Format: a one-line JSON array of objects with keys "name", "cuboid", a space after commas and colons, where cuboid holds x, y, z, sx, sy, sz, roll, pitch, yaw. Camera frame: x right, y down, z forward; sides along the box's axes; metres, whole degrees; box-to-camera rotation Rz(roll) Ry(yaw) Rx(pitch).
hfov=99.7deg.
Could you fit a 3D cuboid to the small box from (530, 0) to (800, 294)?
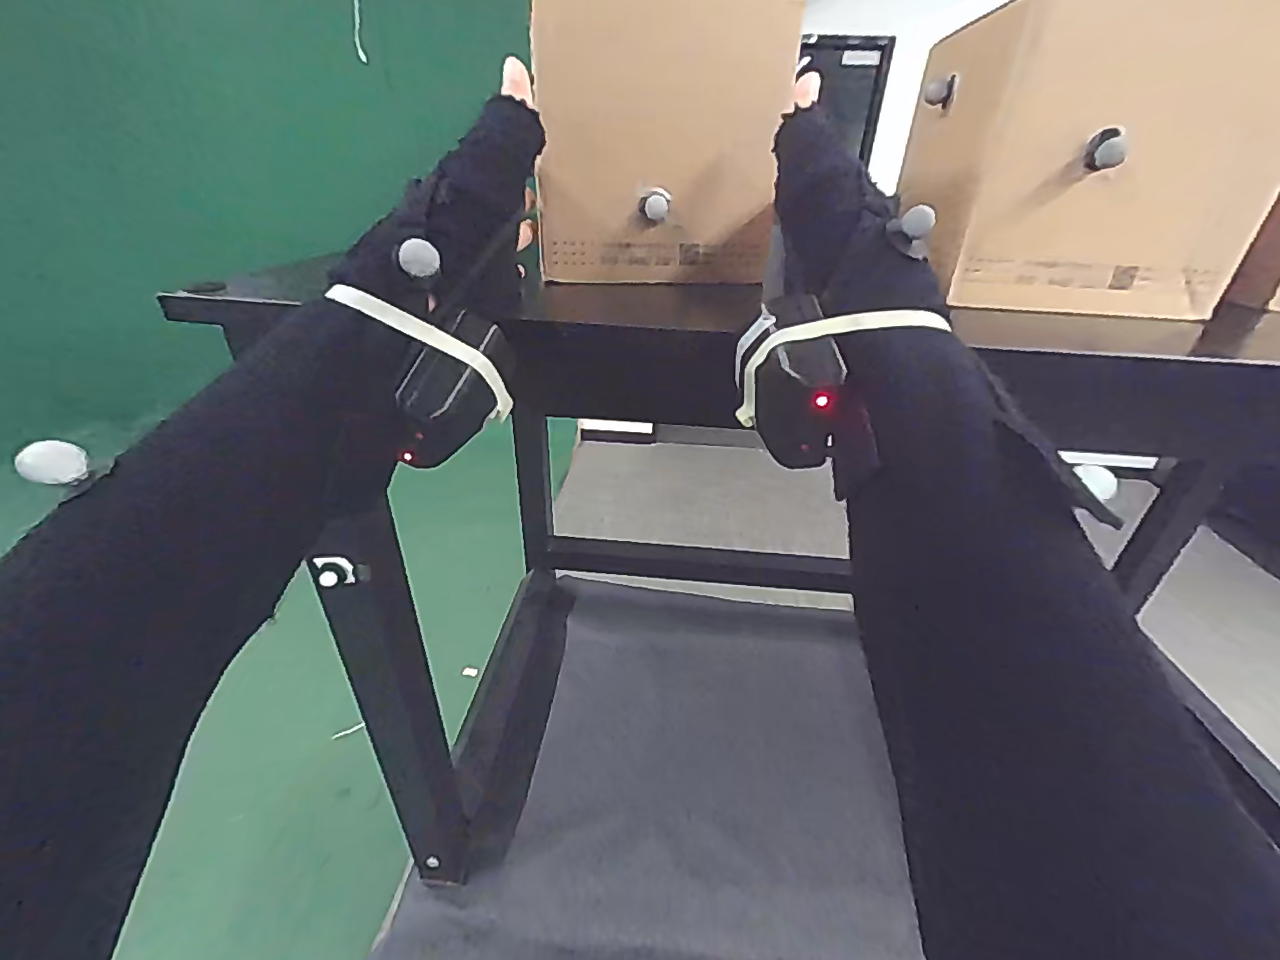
[{"name": "small box", "cuboid": [0.001, -0.253, 0.426, 0.168, 0.176, 0.179, -3, 32, -10]}]
